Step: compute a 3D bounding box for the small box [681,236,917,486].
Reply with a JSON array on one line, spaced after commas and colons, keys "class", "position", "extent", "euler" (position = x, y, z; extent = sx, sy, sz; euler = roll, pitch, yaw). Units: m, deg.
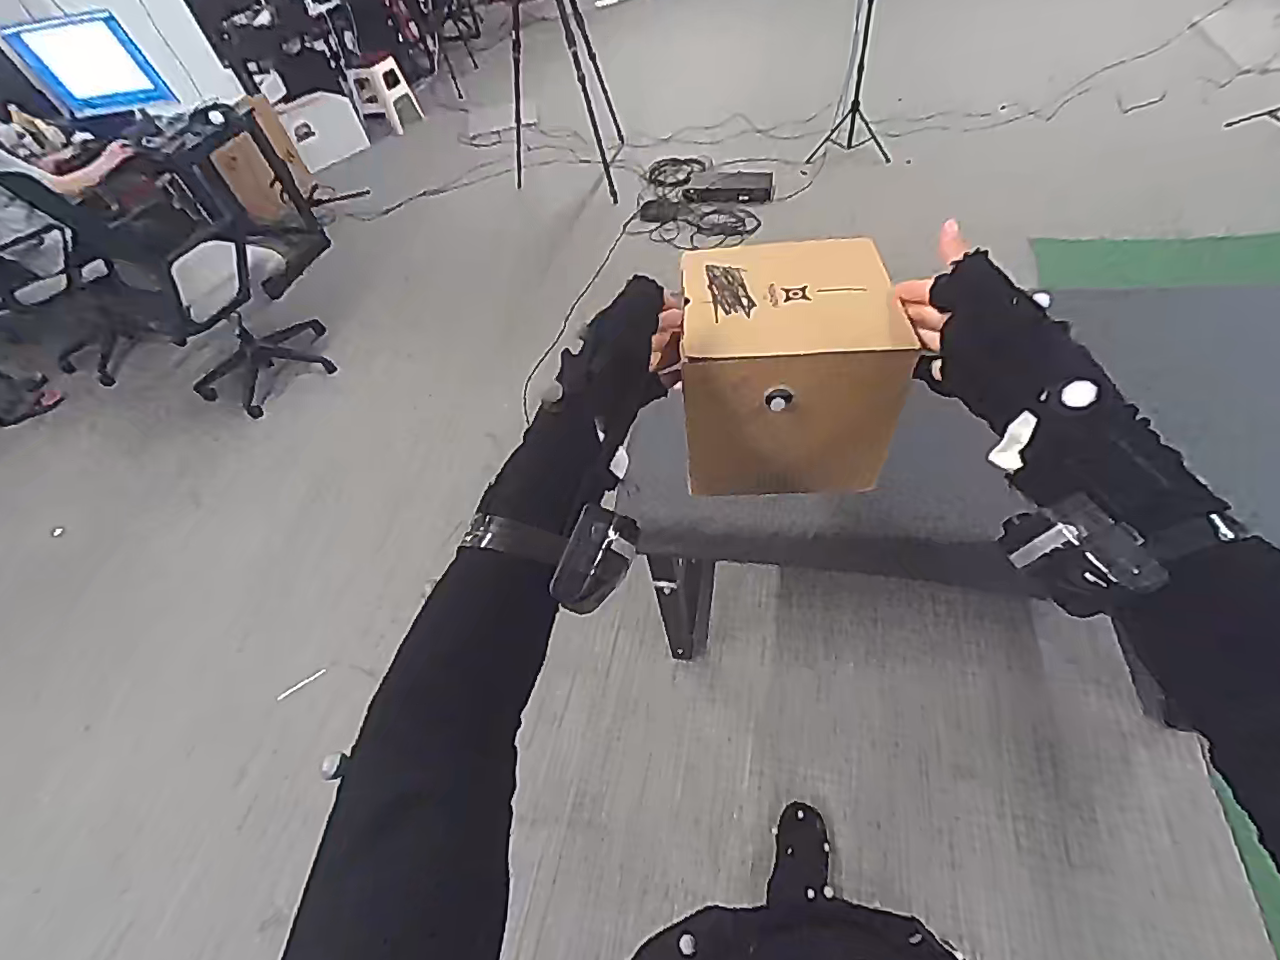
[{"class": "small box", "position": [0.131, -0.106, 0.514], "extent": [0.179, 0.176, 0.168], "euler": [-2, 51, 6]}]
